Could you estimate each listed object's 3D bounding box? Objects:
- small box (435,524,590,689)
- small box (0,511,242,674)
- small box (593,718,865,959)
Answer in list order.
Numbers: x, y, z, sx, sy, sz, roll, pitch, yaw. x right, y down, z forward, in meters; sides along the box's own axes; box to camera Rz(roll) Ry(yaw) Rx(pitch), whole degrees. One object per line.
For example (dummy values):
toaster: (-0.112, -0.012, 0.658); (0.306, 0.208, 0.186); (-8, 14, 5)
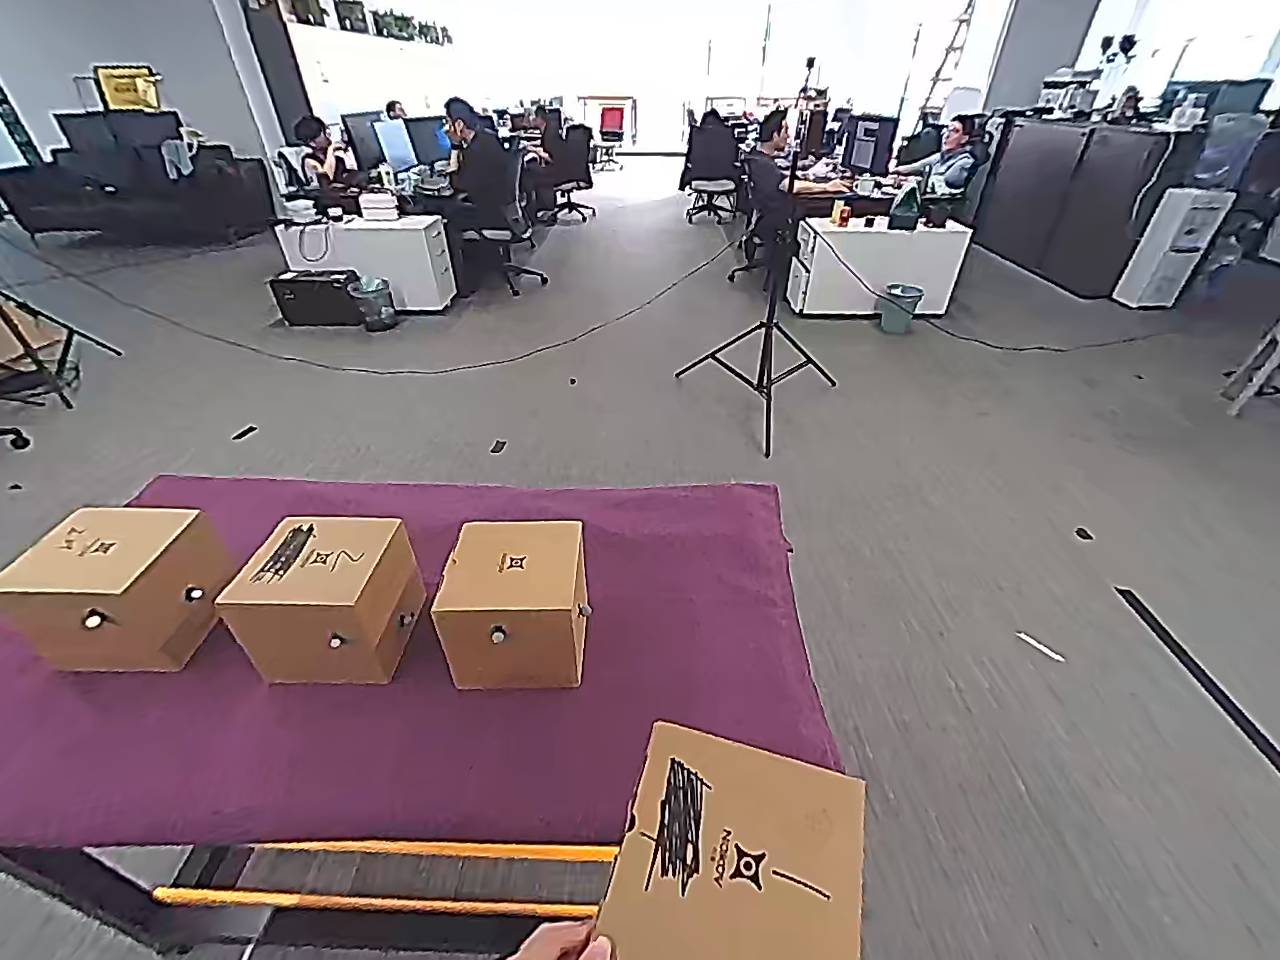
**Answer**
small box: (-0.165, 0.181, 0.772); (0.179, 0.176, 0.168); (-1, 36, 0)
small box: (-0.734, 0.164, 0.787); (0.179, 0.176, 0.168); (1, 36, -2)
small box: (0.079, 0.335, 0.455); (0.179, 0.176, 0.168); (9, 45, 16)
